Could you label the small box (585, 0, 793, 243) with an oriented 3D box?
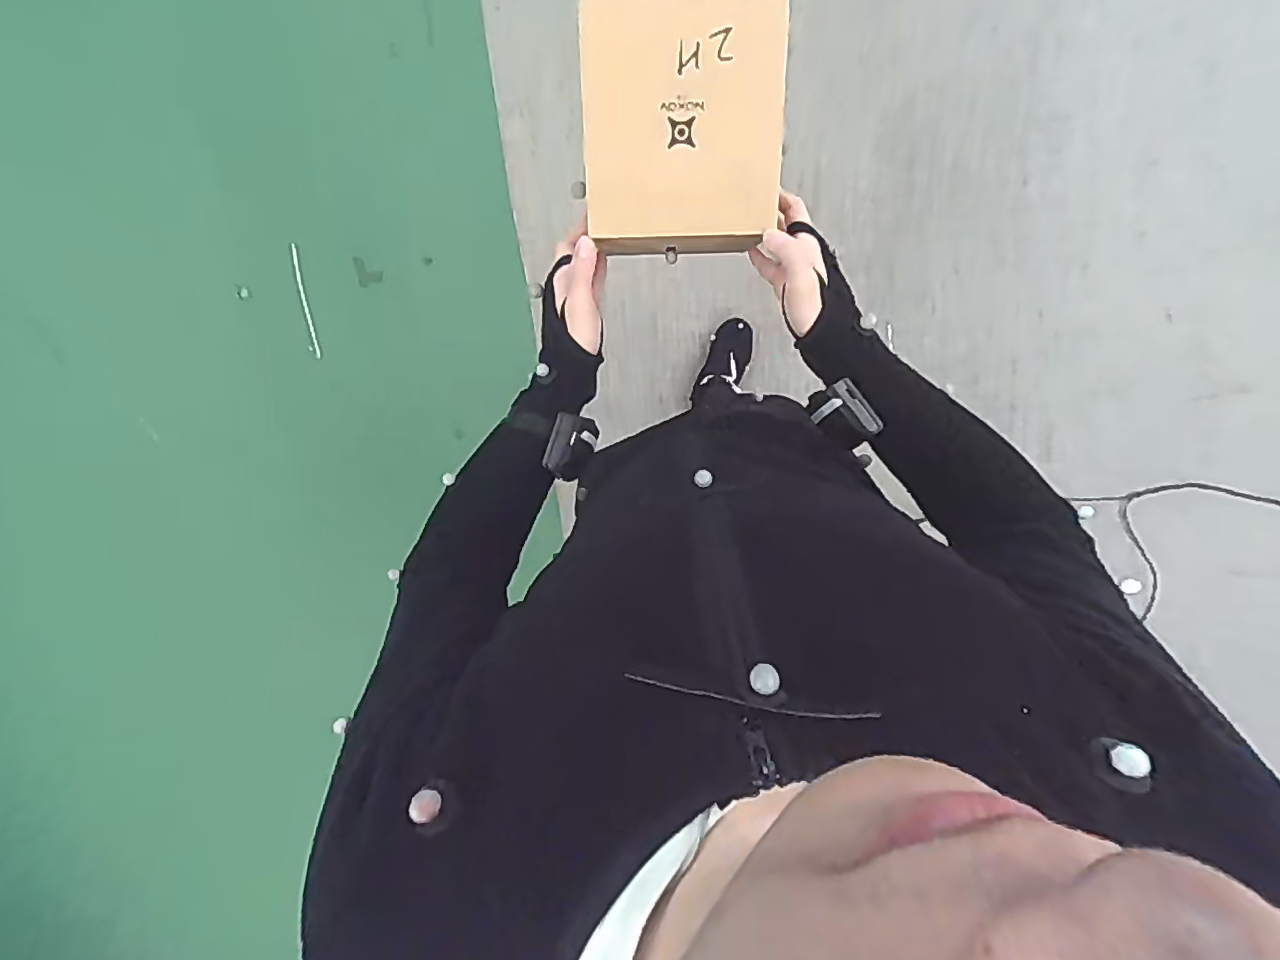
[{"bbox_3d":[0.040,-0.330,0.523,0.168,0.176,0.179,-1,108,1],"label":"small box"}]
